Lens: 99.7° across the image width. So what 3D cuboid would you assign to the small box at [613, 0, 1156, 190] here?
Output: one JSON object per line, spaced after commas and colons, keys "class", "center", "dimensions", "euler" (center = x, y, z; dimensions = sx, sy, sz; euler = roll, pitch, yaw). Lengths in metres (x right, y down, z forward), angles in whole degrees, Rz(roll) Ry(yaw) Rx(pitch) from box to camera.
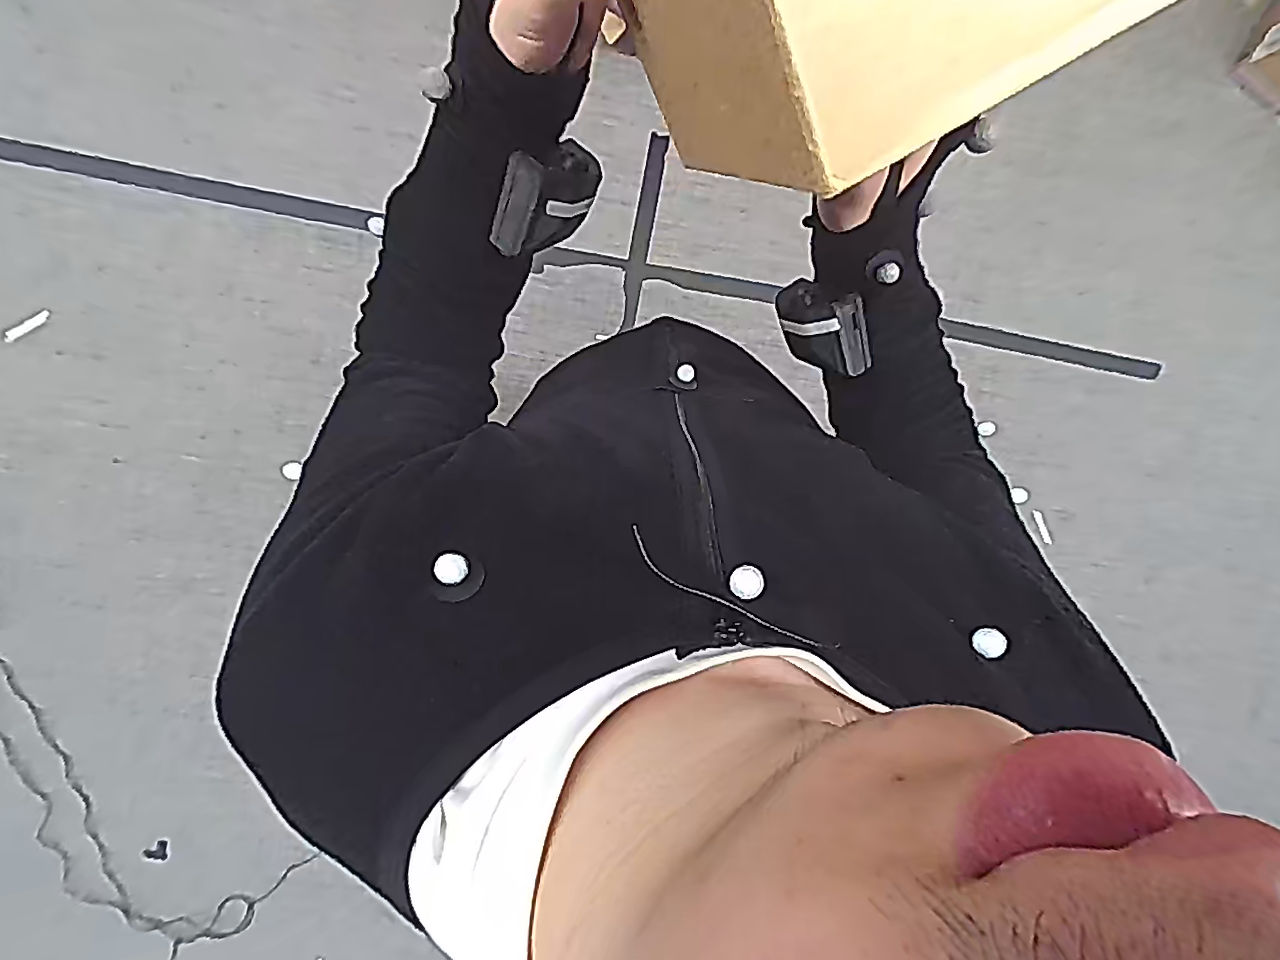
{"class": "small box", "center": [0.071, -0.209, 0.147], "dimensions": [0.179, 0.176, 0.168], "euler": [-27, 121, 9]}
